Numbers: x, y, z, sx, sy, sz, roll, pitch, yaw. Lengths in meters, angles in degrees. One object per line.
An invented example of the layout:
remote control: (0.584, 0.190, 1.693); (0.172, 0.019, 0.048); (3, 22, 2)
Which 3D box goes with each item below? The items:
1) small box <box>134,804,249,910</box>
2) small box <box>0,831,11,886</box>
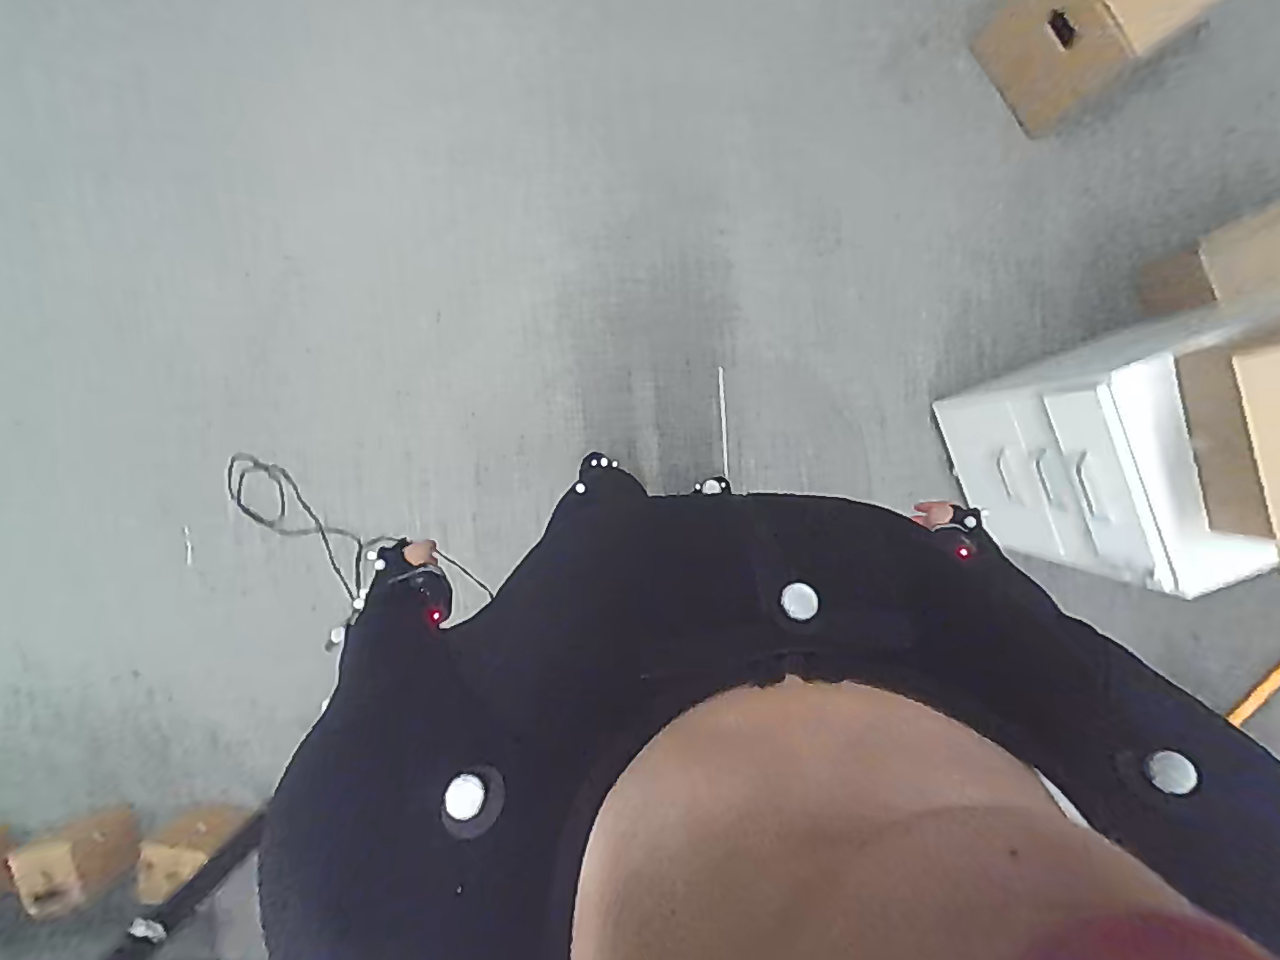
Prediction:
small box: (-1.212, 1.018, 1.475); (0.179, 0.176, 0.168); (8, 93, -1)
small box: (-1.904, 1.082, 1.478); (0.168, 0.176, 0.179); (-9, 93, 1)
